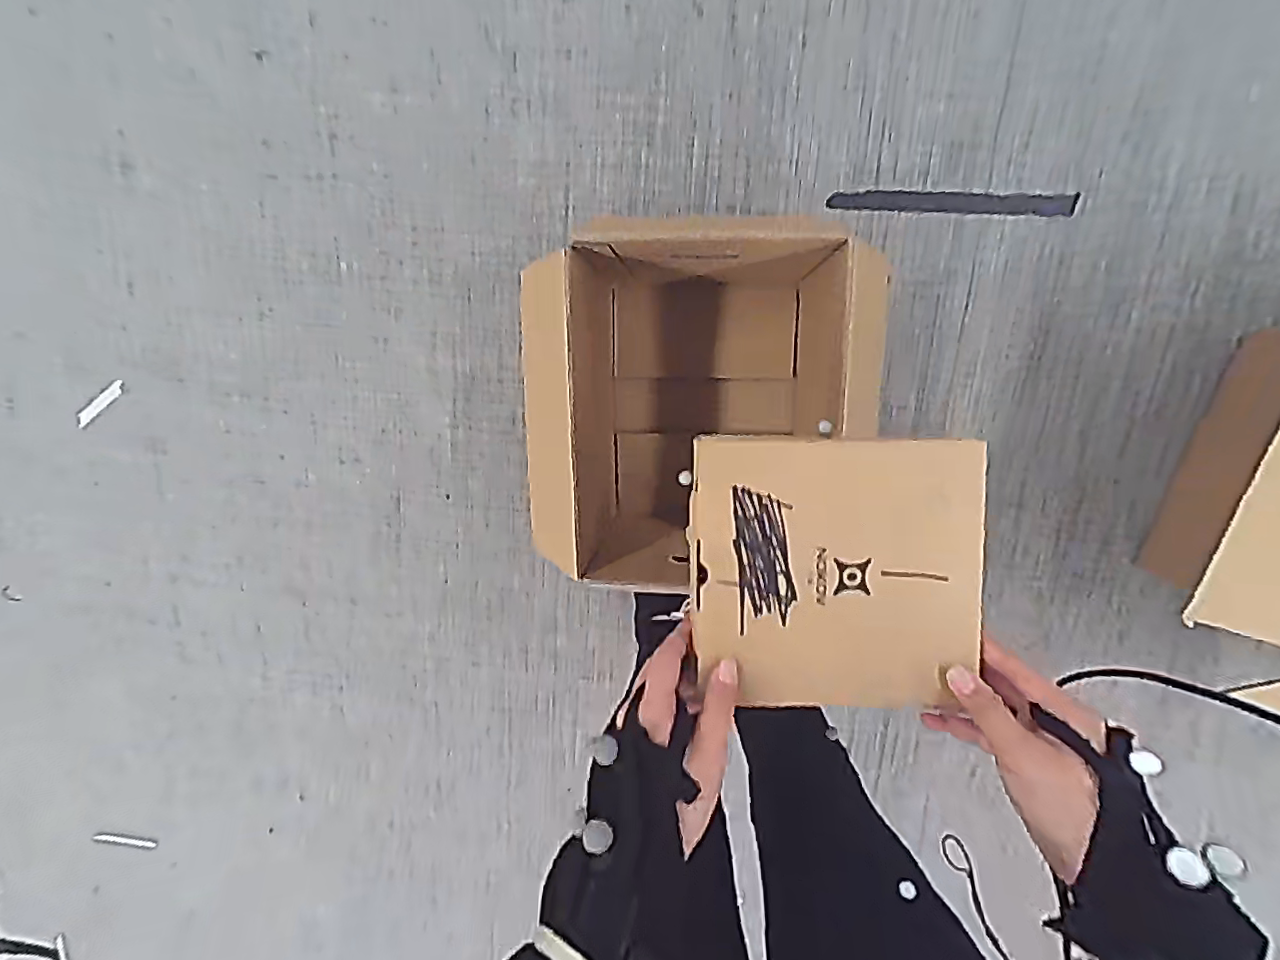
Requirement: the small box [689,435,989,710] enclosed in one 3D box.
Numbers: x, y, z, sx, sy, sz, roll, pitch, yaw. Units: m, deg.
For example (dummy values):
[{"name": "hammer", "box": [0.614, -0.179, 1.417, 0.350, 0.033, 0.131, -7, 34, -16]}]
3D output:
[{"name": "small box", "box": [0.128, 0.052, 0.409, 0.179, 0.176, 0.168, 0, 93, 6]}]
